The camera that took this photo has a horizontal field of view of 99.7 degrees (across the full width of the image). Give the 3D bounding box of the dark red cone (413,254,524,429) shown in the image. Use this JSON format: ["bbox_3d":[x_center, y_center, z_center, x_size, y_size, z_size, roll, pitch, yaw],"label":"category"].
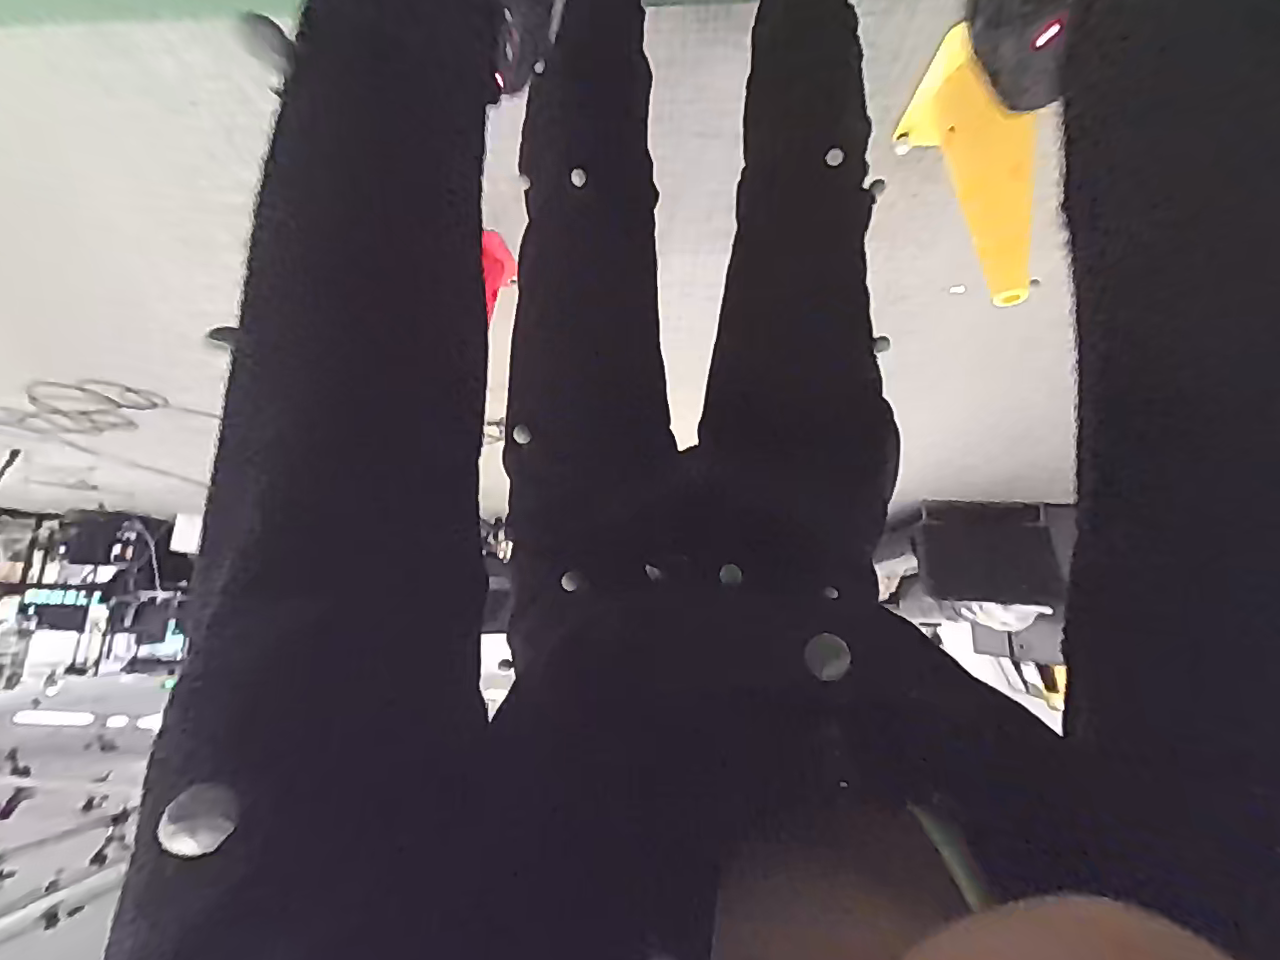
[{"bbox_3d":[-0.402,-0.301,1.219,0.202,0.394,0.201,-1,162,12],"label":"dark red cone"}]

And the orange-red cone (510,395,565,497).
[{"bbox_3d":[-0.405,-0.112,2.033,0.199,0.360,0.198,7,163,-15],"label":"orange-red cone"}]
